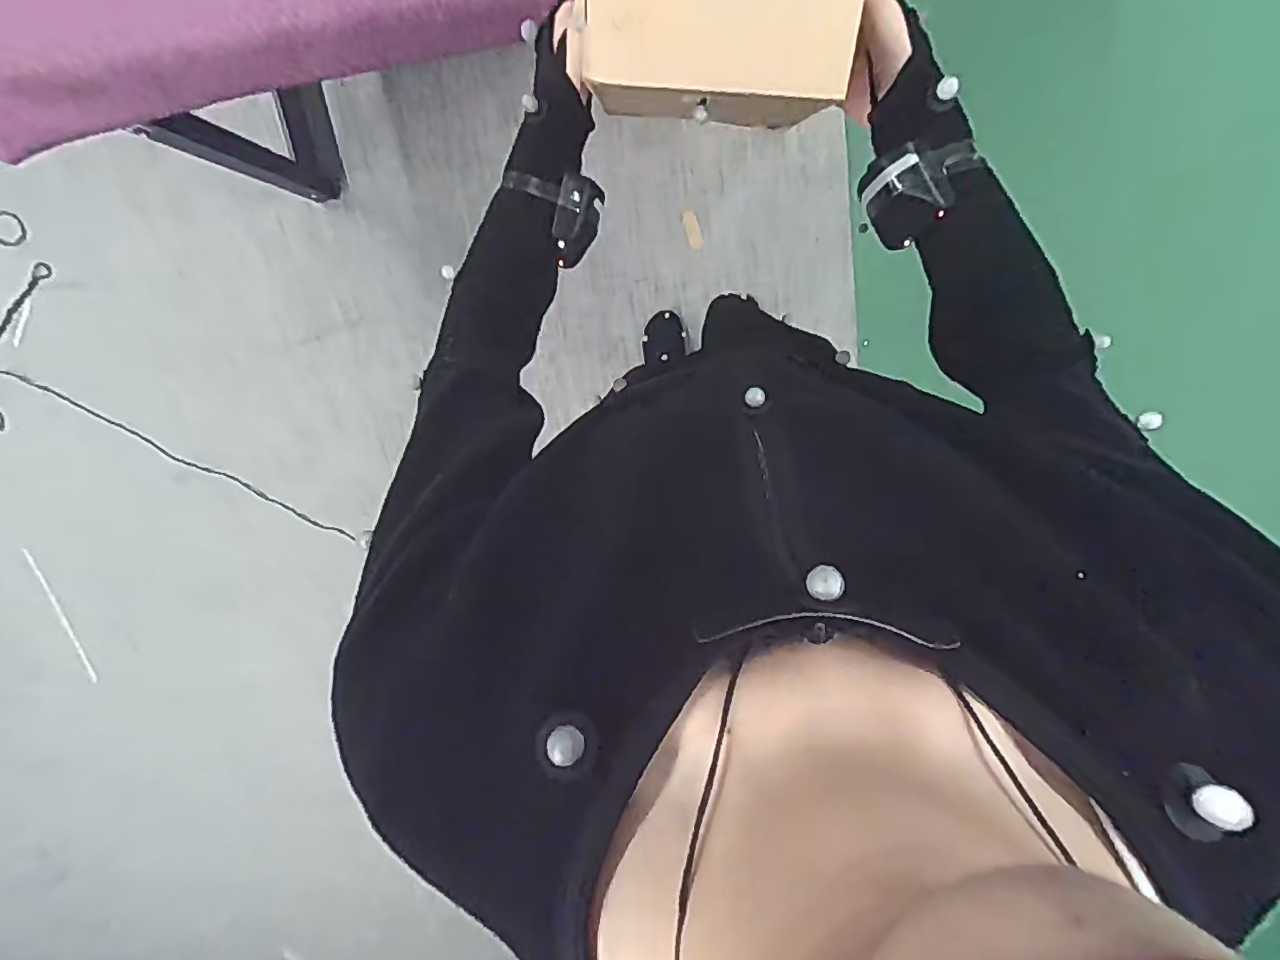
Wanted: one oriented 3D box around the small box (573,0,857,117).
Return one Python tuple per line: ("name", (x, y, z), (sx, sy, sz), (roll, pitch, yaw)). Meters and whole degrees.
("small box", (0.054, -0.369, 0.383), (0.179, 0.176, 0.168), (5, 118, 0))
